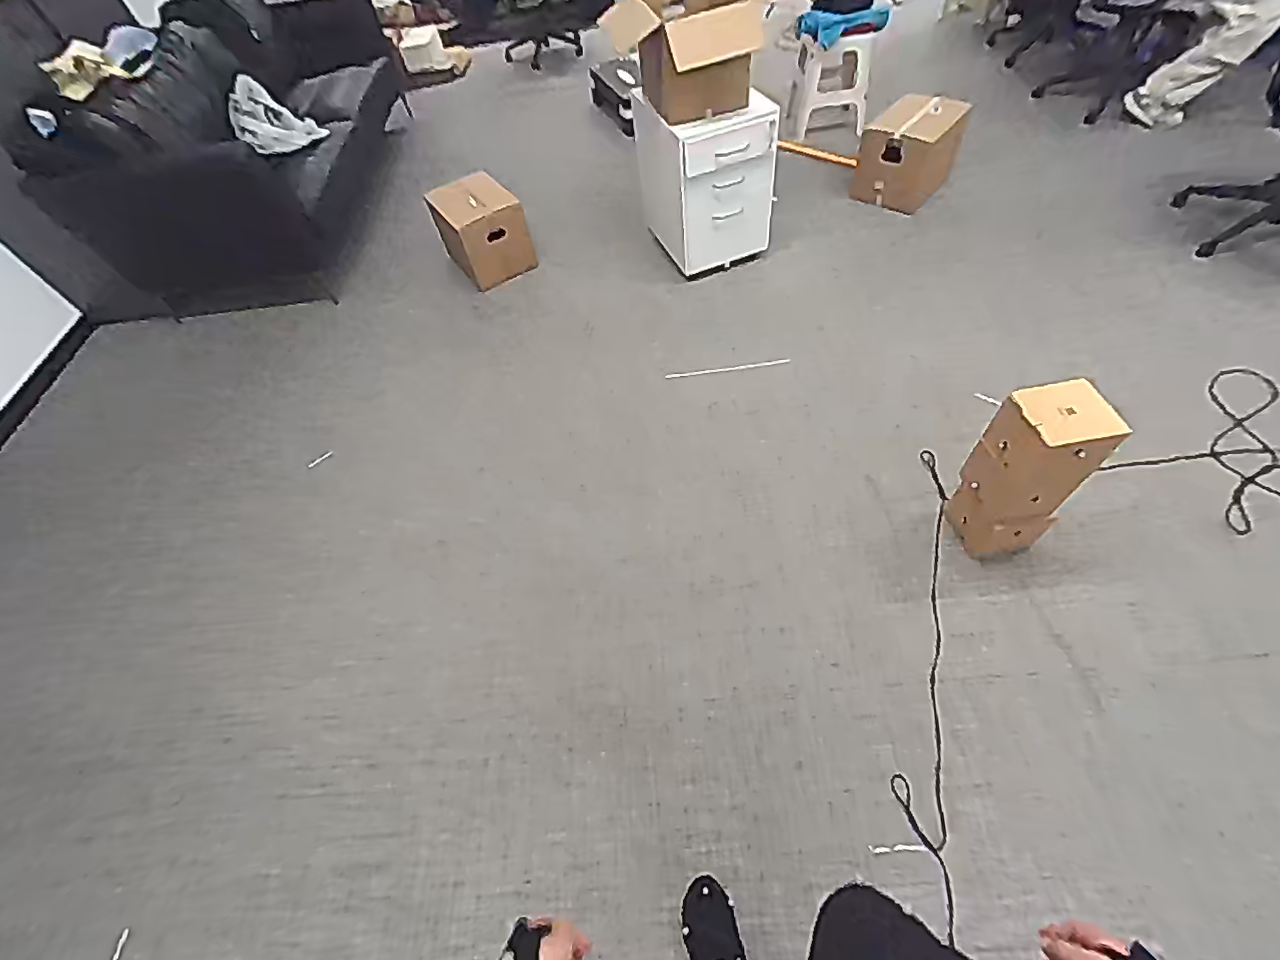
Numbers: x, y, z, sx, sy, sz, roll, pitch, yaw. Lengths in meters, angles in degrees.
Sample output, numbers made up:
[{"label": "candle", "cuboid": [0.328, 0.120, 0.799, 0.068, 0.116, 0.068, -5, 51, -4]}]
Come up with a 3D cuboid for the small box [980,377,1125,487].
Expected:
[{"label": "small box", "cuboid": [0.931, -0.106, 1.242, 0.179, 0.176, 0.168, -11, 53, 2]}]

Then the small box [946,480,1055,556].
[{"label": "small box", "cuboid": [0.981, 0.092, 1.497, 0.179, 0.176, 0.168, -12, 54, -1]}]

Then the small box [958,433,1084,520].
[{"label": "small box", "cuboid": [0.955, -0.017, 1.376, 0.179, 0.176, 0.168, -10, 53, 2]}]
